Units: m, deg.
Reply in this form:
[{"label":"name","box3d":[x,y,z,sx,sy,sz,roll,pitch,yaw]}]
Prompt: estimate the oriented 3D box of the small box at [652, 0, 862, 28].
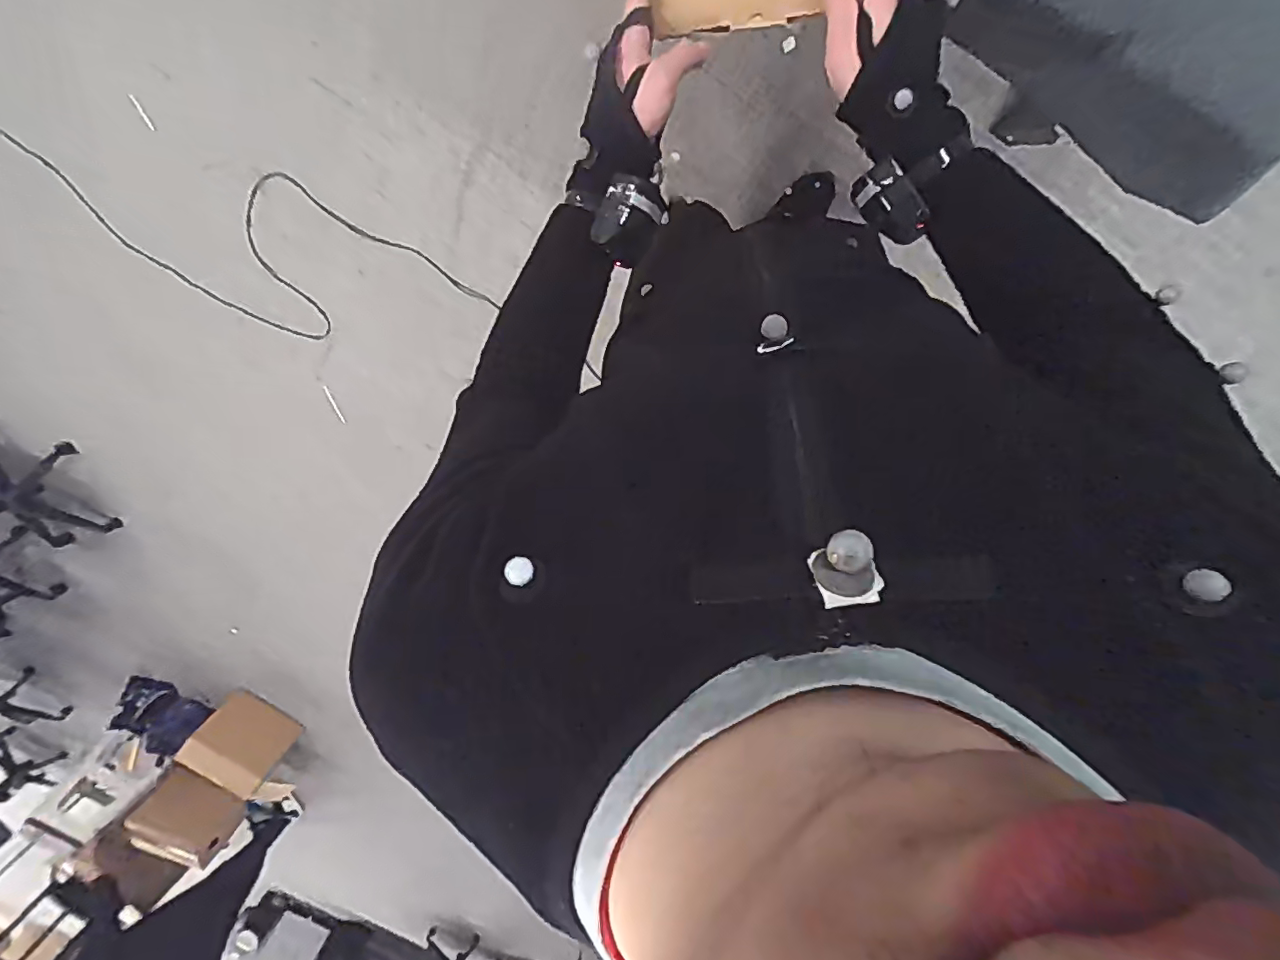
[{"label":"small box","box3d":[0.094,-0.472,0.410,0.168,0.176,0.179,1,132,11]}]
